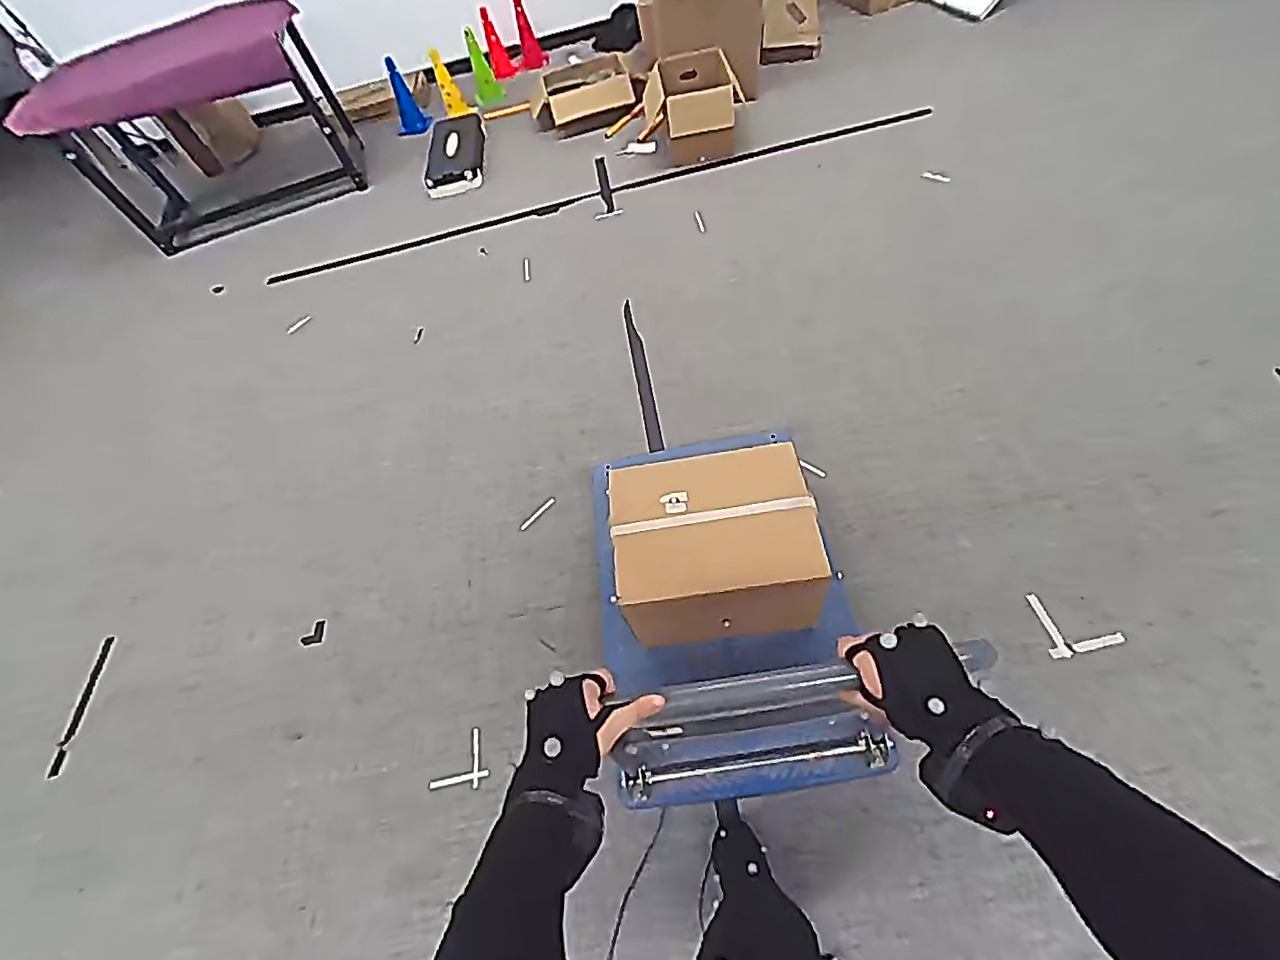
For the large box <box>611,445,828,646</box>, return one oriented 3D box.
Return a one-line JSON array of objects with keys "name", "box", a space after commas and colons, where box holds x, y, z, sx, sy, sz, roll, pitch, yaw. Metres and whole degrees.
[{"name": "large box", "box": [0.170, 0.162, 1.230, 0.408, 0.320, 0.320, -10, 56, 6]}]
